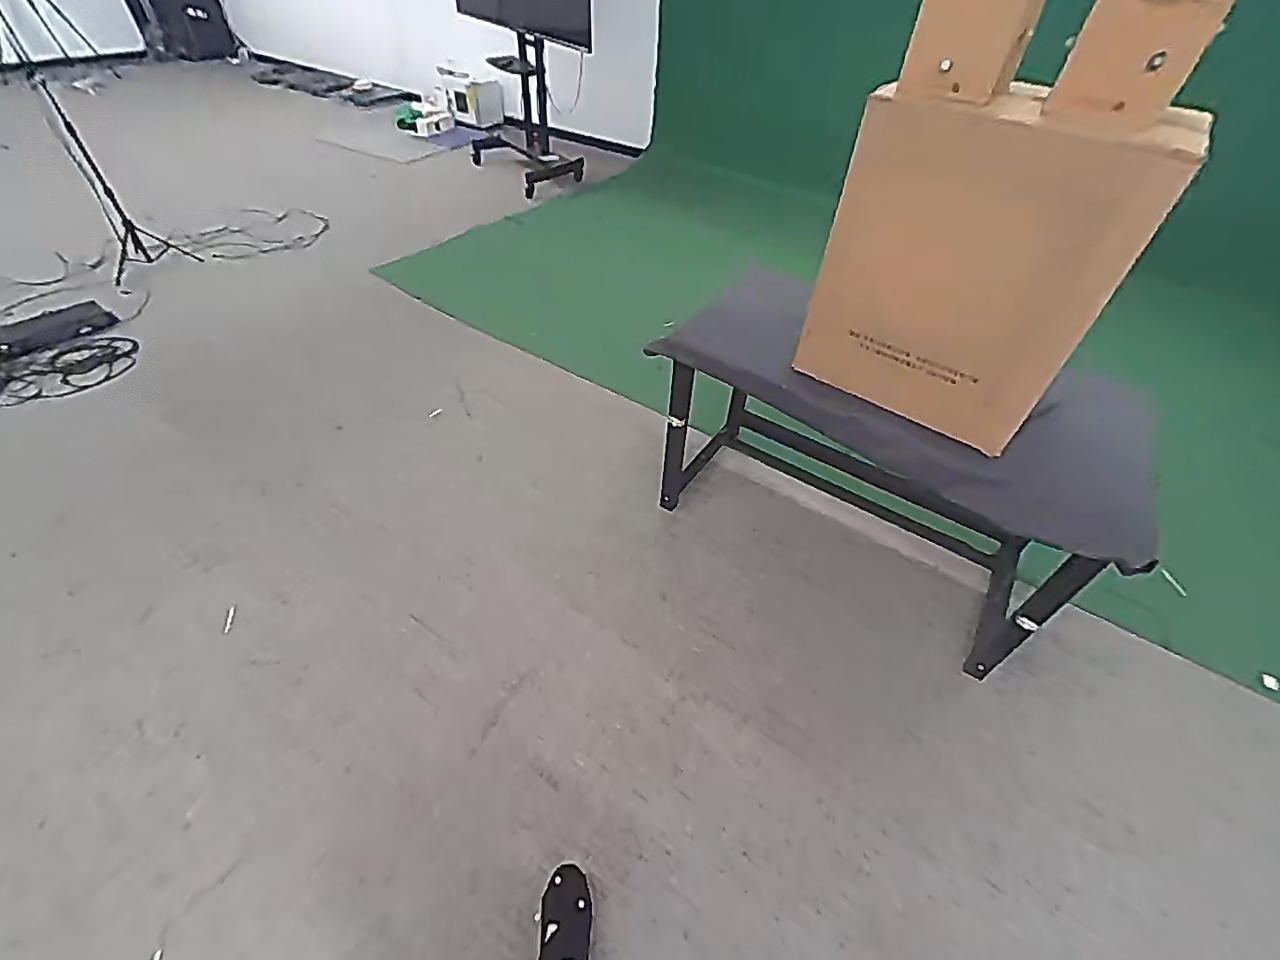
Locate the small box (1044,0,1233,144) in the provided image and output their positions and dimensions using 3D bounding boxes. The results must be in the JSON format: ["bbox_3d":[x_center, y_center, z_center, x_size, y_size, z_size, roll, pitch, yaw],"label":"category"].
[{"bbox_3d":[0.814,-0.683,0.898,0.168,0.176,0.179,29,52,19],"label":"small box"}]

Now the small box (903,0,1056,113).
[{"bbox_3d":[0.609,-0.793,0.981,0.168,0.176,0.179,32,54,26],"label":"small box"}]
